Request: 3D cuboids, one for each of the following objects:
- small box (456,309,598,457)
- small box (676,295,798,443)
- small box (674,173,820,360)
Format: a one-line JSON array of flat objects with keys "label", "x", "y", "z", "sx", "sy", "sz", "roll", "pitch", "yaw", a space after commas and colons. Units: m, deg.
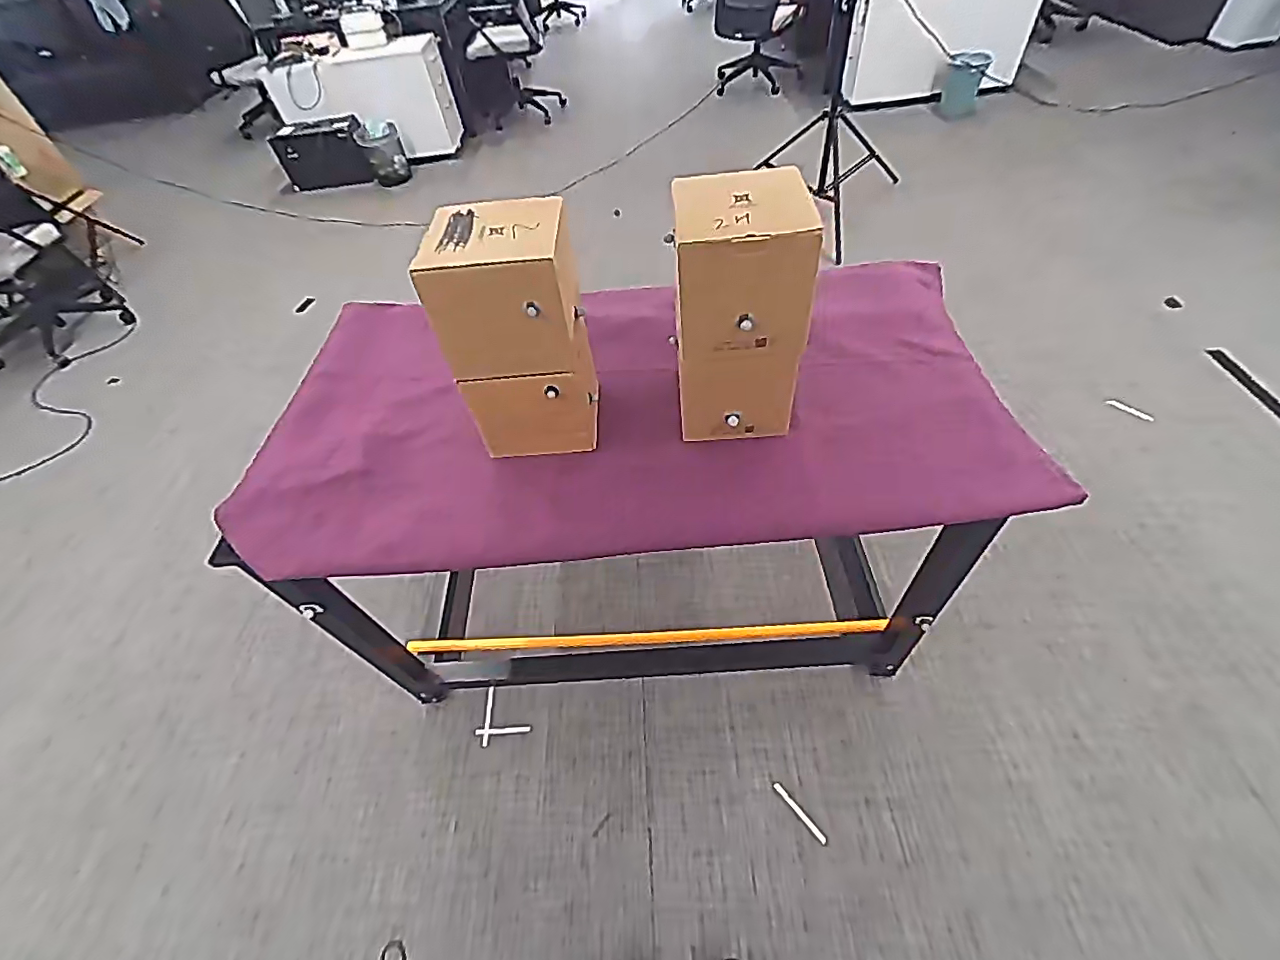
[{"label": "small box", "x": -0.170, "y": -0.152, "z": 0.874, "sx": 0.179, "sy": 0.176, "sz": 0.168, "roll": -4, "pitch": 50, "yaw": 3}, {"label": "small box", "x": 0.143, "y": -0.180, "z": 0.857, "sx": 0.168, "sy": 0.176, "sz": 0.179, "roll": -4, "pitch": 51, "yaw": 5}, {"label": "small box", "x": 0.132, "y": -0.284, "z": 0.729, "sx": 0.168, "sy": 0.176, "sz": 0.179, "roll": -4, "pitch": 51, "yaw": 5}]
